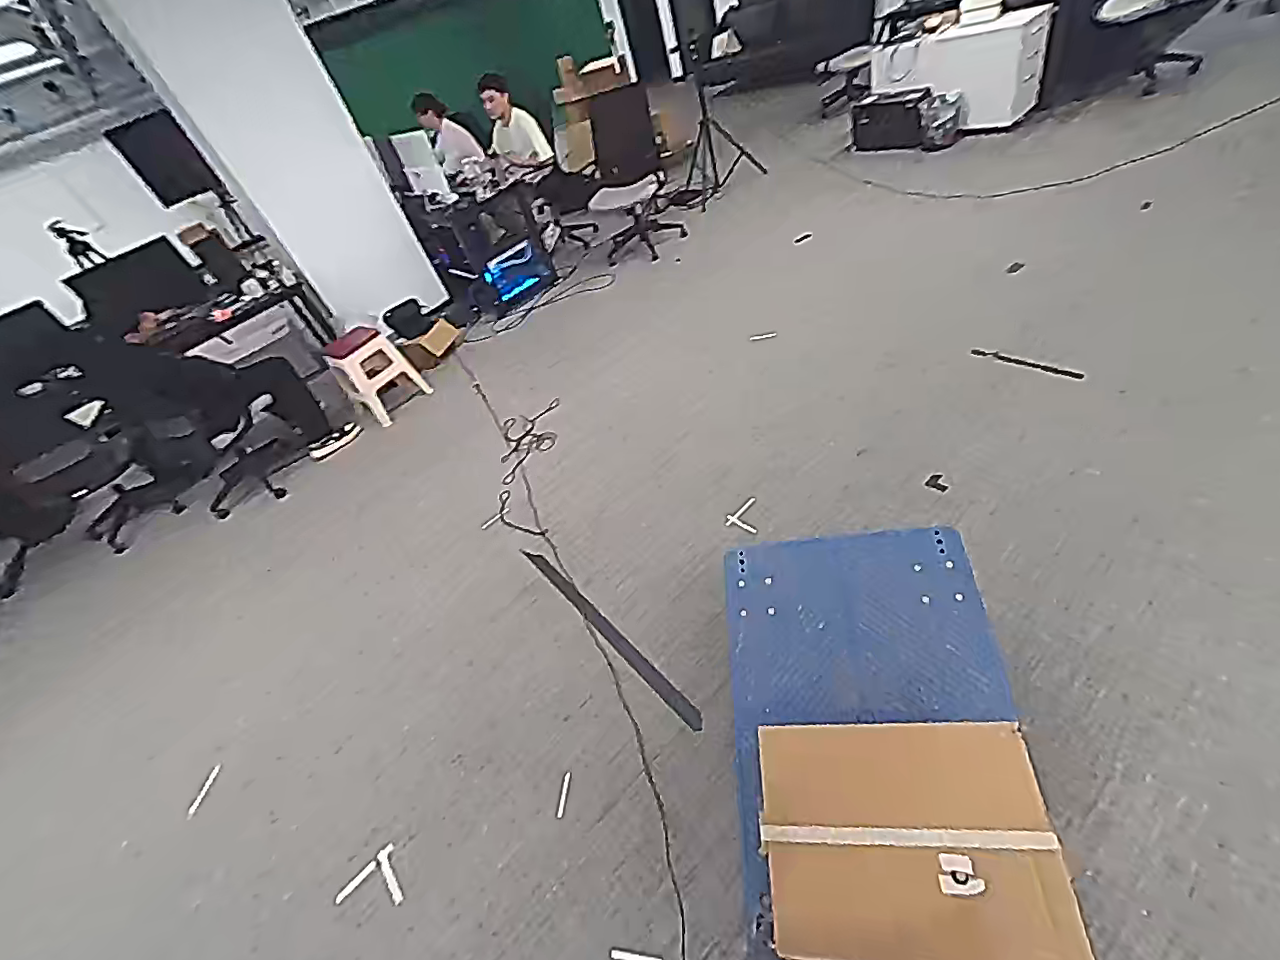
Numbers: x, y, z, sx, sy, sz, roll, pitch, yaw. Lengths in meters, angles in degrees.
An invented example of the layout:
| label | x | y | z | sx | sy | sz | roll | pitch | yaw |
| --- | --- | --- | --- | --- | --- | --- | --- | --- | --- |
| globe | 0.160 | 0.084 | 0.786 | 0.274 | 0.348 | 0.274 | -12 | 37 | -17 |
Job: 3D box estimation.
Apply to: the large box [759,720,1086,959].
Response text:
| label | x | y | z | sx | sy | sz | roll | pitch | yaw |
| --- | --- | --- | --- | --- | --- | --- | --- | --- | --- |
| large box | 0.440 | 0.621 | 0.951 | 0.408 | 0.320 | 0.320 | -8 | 57 | 15 |
